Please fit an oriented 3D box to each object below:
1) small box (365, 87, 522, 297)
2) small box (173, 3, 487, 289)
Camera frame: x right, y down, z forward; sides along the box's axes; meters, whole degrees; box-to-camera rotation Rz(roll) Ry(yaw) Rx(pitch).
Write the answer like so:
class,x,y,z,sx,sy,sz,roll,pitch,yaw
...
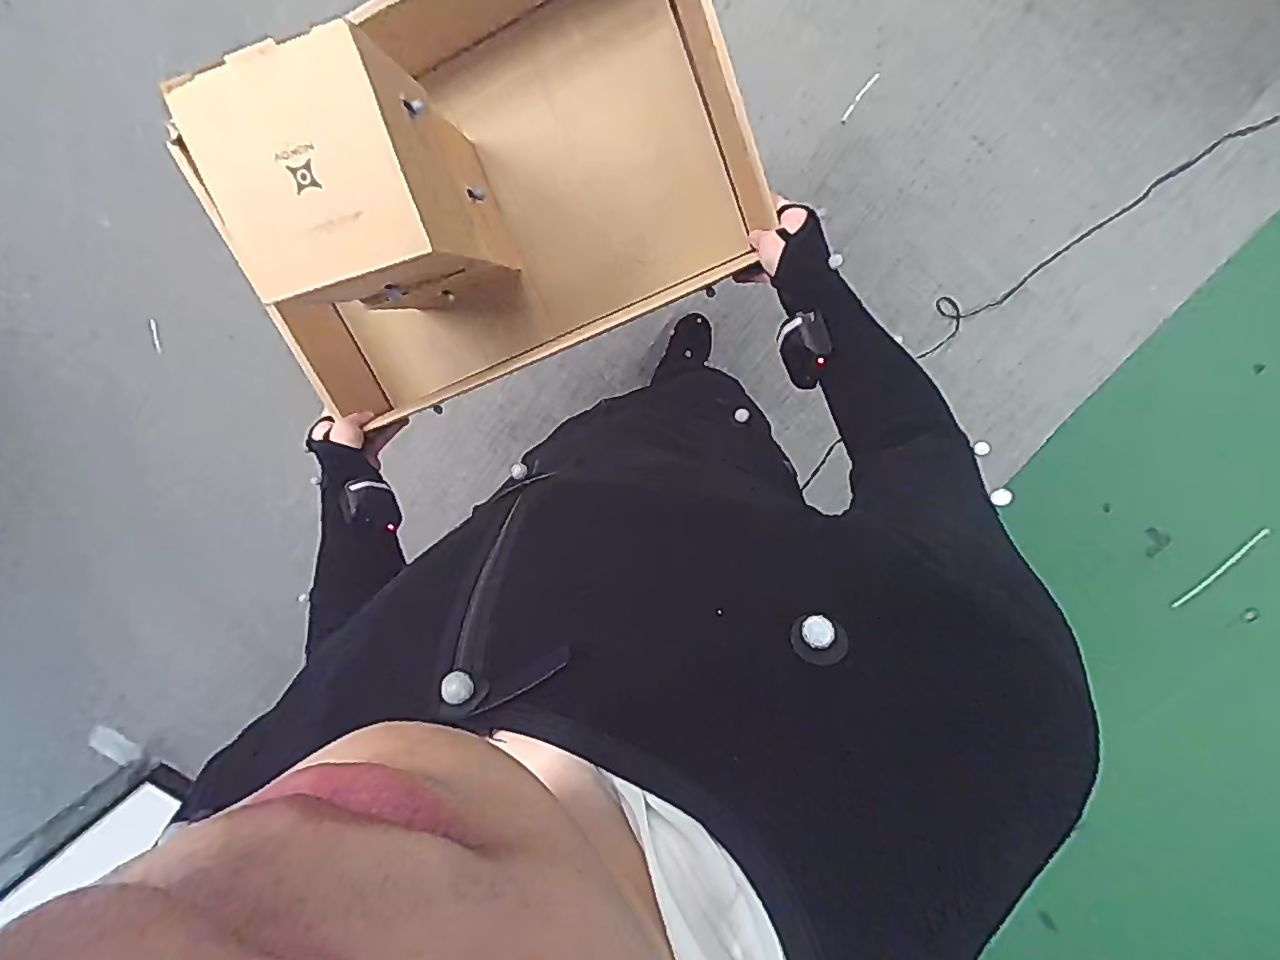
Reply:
class,x,y,z,sx,sy,sz,roll,pitch,yaw
small box,-0.265,-0.338,0.674,0.168,0.176,0.179,-18,108,6
small box,-0.268,-0.291,0.518,0.168,0.176,0.179,-14,109,5
